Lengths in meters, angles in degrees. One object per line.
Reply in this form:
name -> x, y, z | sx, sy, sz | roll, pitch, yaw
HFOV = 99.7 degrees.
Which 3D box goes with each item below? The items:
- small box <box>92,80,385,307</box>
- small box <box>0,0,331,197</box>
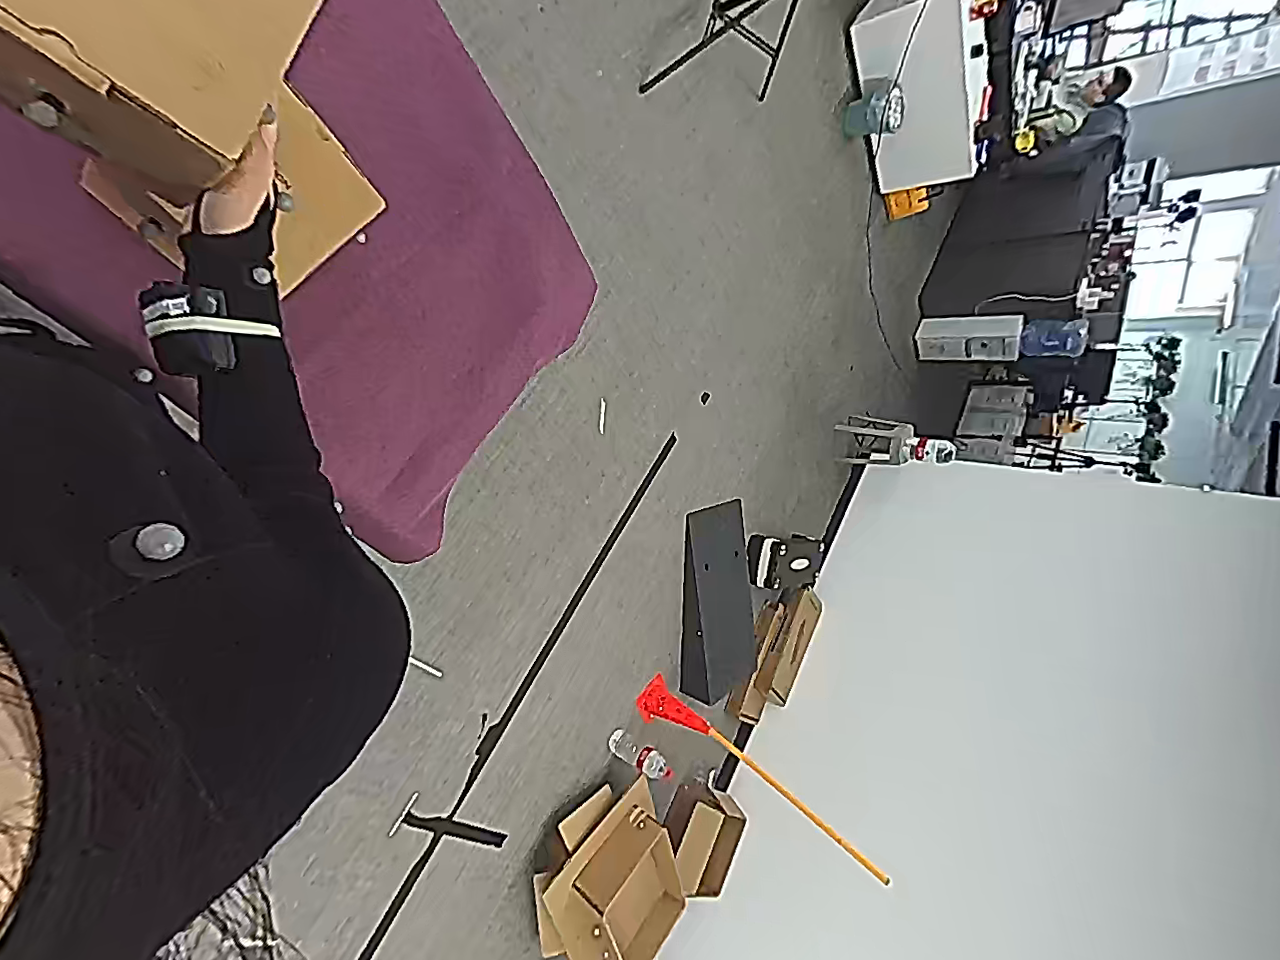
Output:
small box -> -0.423, -0.304, 0.576 | 0.179, 0.176, 0.168 | -59, 136, -23
small box -> -0.332, -0.317, 0.349 | 0.168, 0.176, 0.179 | 29, 78, -49
